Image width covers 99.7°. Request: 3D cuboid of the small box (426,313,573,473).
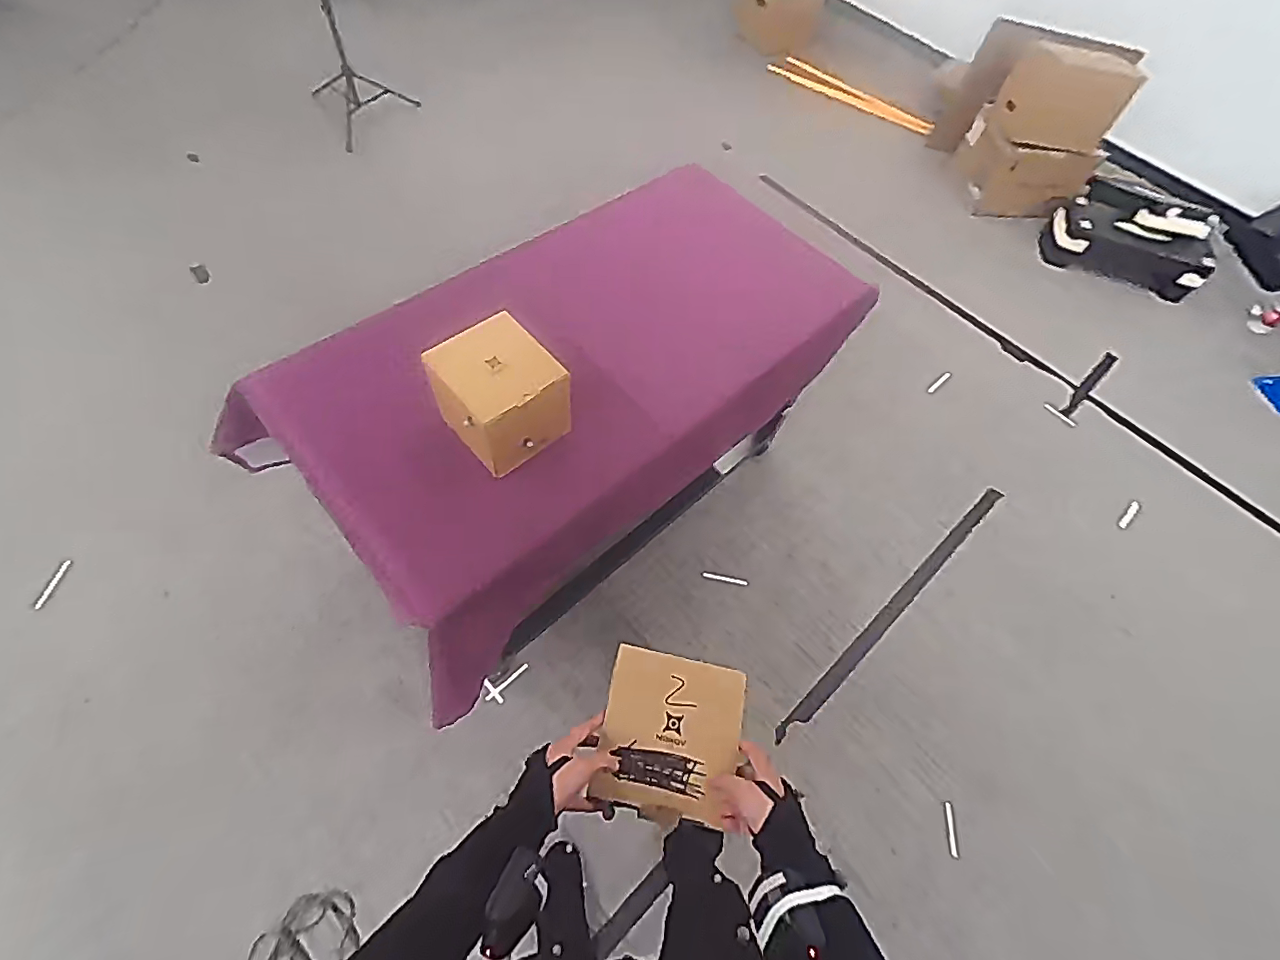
[{"bbox_3d":[-0.234,-0.145,0.931,0.168,0.176,0.179,-37,72,-24],"label":"small box"}]
